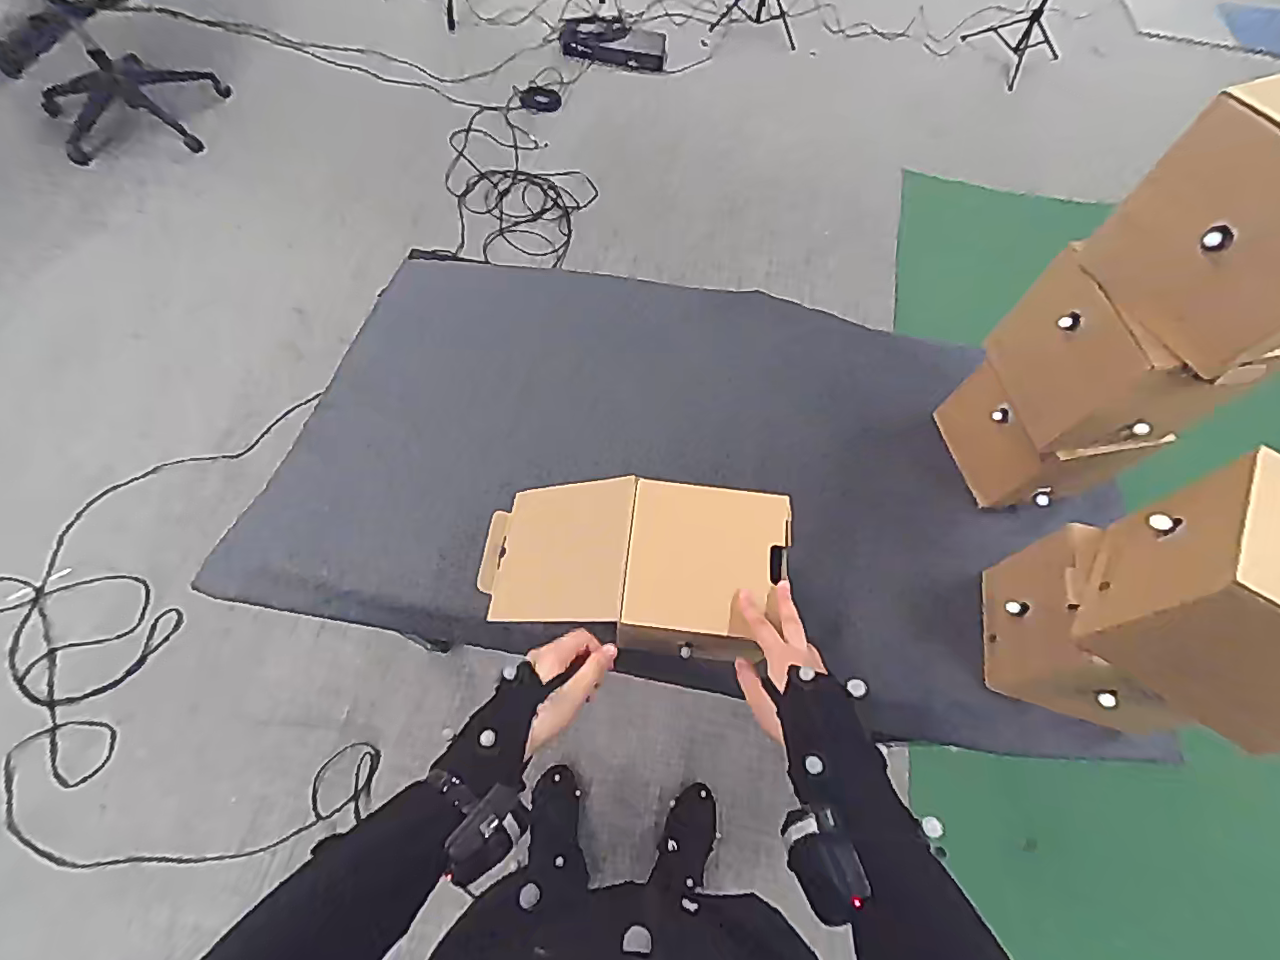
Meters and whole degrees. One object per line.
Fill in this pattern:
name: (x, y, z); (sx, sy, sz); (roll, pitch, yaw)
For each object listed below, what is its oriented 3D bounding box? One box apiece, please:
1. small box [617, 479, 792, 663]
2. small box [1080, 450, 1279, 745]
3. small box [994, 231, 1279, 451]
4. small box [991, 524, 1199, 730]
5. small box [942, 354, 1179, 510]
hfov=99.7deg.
small box: (0.070, 0.116, 0.640); (0.179, 0.176, 0.168); (6, 64, 2)
small box: (0.553, 0.113, 0.483); (0.179, 0.176, 0.168); (36, 64, 14)
small box: (0.555, -0.153, 0.622); (0.168, 0.176, 0.179); (-6, 64, -3)
small box: (0.543, 0.179, 0.633); (0.179, 0.176, 0.168); (16, 60, 6)
small box: (0.571, -0.077, 0.768); (0.168, 0.176, 0.179); (-10, 66, -5)
